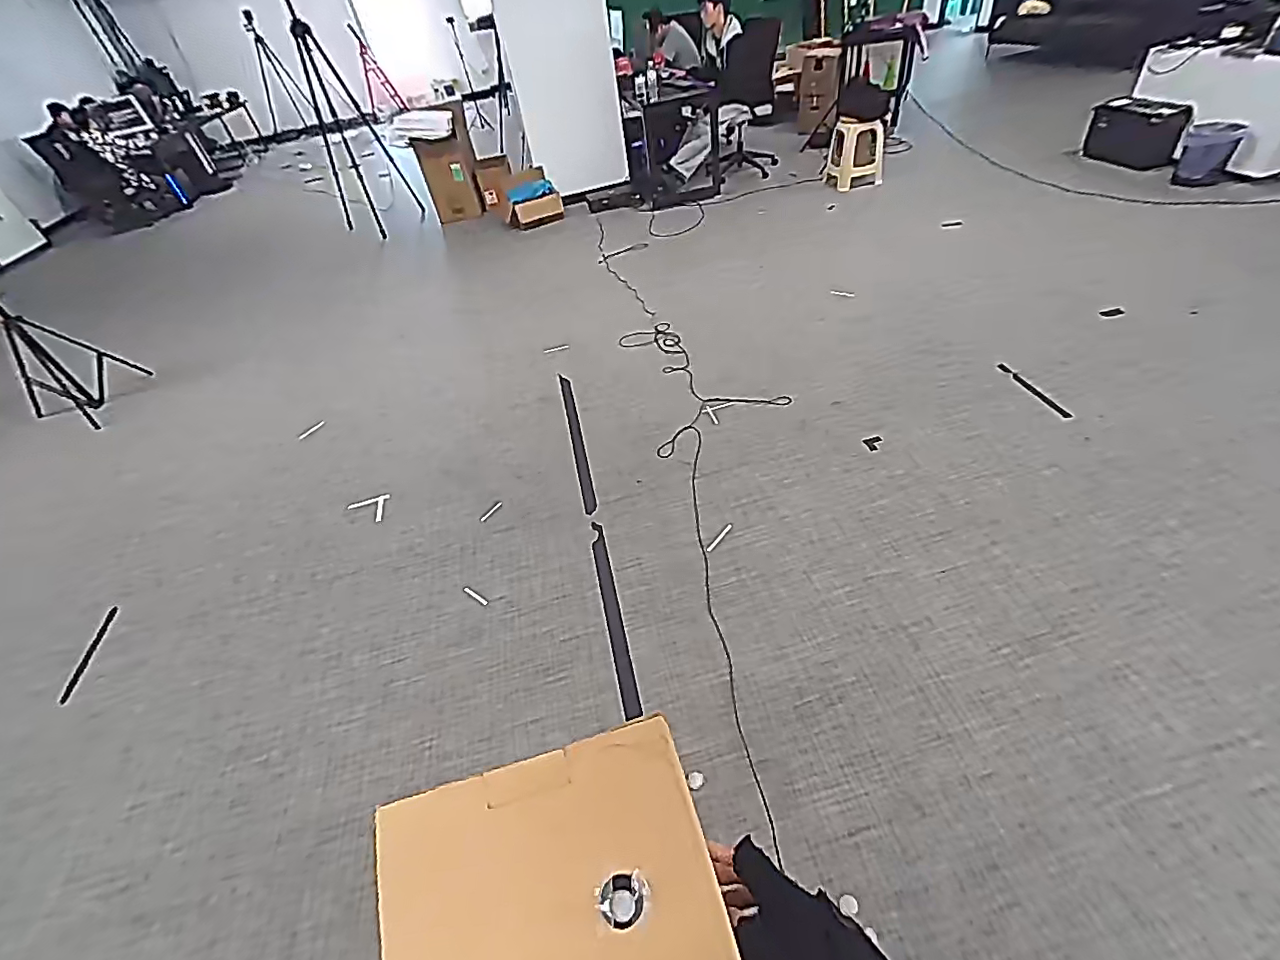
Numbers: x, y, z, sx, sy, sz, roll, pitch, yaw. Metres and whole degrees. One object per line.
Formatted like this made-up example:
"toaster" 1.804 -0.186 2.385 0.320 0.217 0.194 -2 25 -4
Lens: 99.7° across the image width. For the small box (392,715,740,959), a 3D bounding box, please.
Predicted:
"small box" -0.035 0.270 0.349 0.168 0.179 0.176 -16 62 -5
